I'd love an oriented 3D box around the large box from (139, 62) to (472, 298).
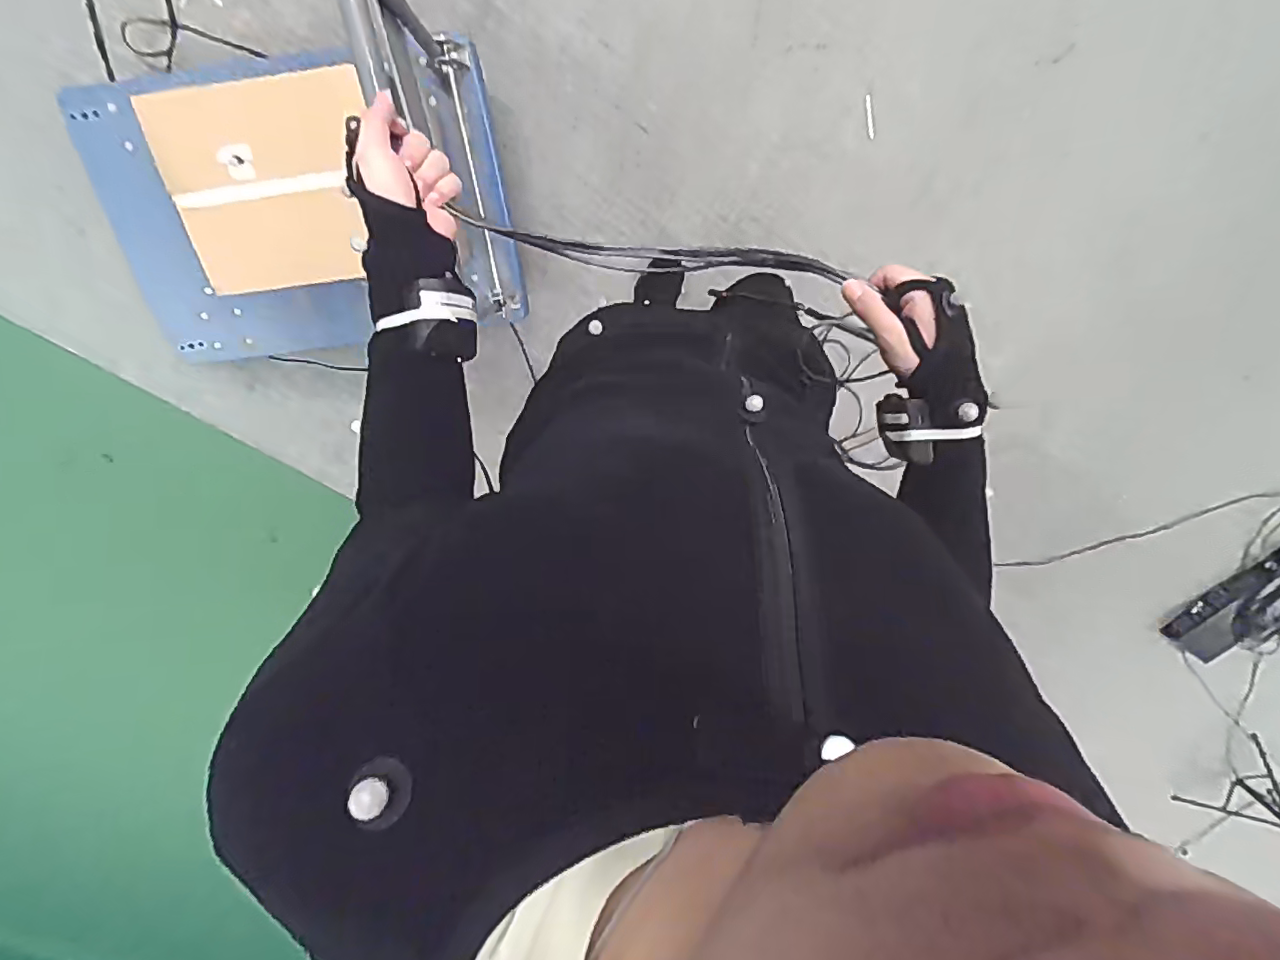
[{"bbox_3d":[-0.599,-0.561,1.062,0.408,0.320,0.320,-7,113,2],"label":"large box"}]
